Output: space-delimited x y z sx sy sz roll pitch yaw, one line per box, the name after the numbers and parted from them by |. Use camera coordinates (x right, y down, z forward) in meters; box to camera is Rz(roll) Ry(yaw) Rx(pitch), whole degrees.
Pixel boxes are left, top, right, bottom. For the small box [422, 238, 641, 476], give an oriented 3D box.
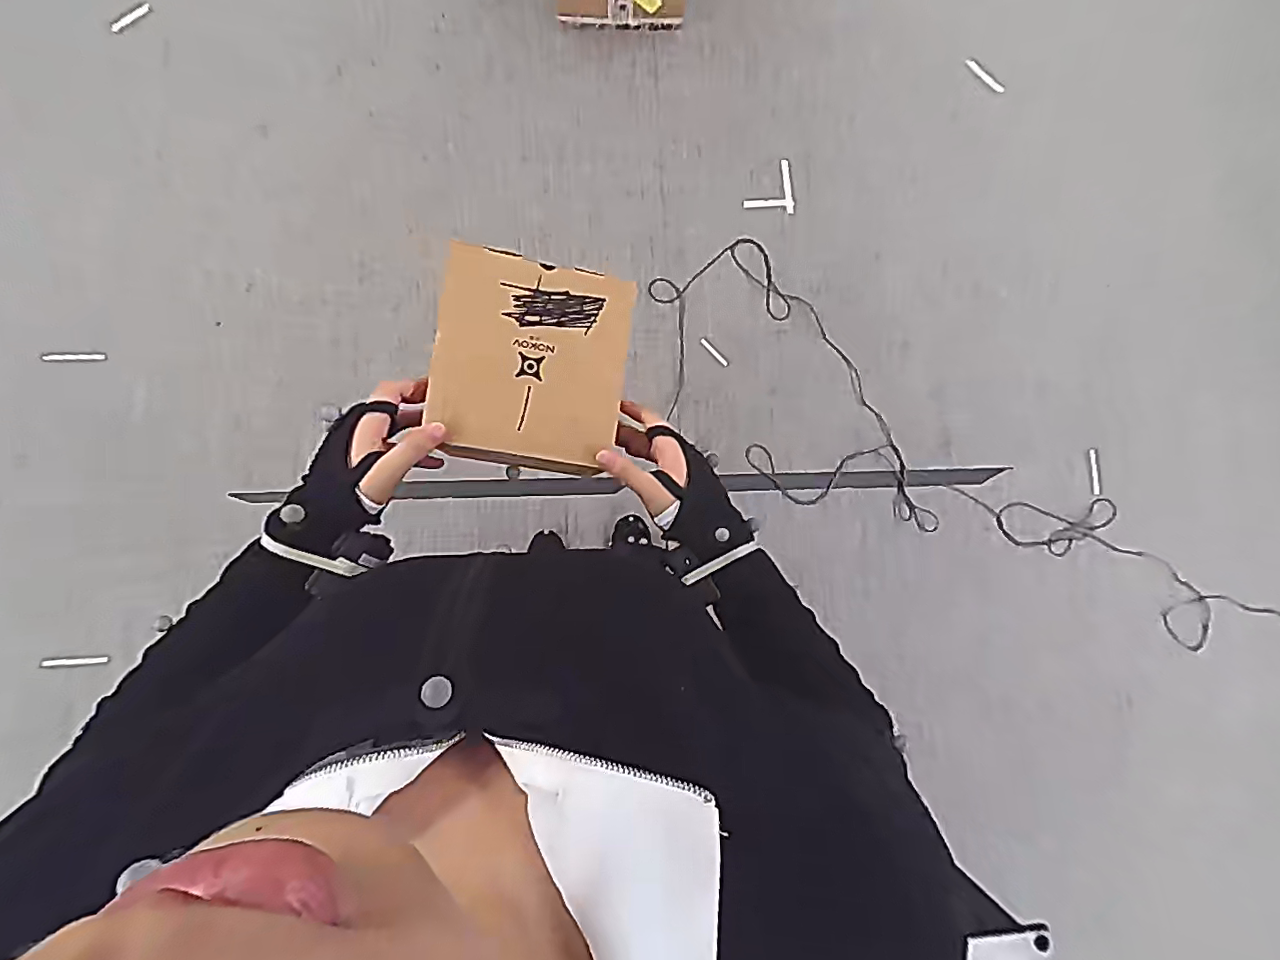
-0.106 -0.105 0.546 0.168 0.176 0.179 9 86 -11 | small box
